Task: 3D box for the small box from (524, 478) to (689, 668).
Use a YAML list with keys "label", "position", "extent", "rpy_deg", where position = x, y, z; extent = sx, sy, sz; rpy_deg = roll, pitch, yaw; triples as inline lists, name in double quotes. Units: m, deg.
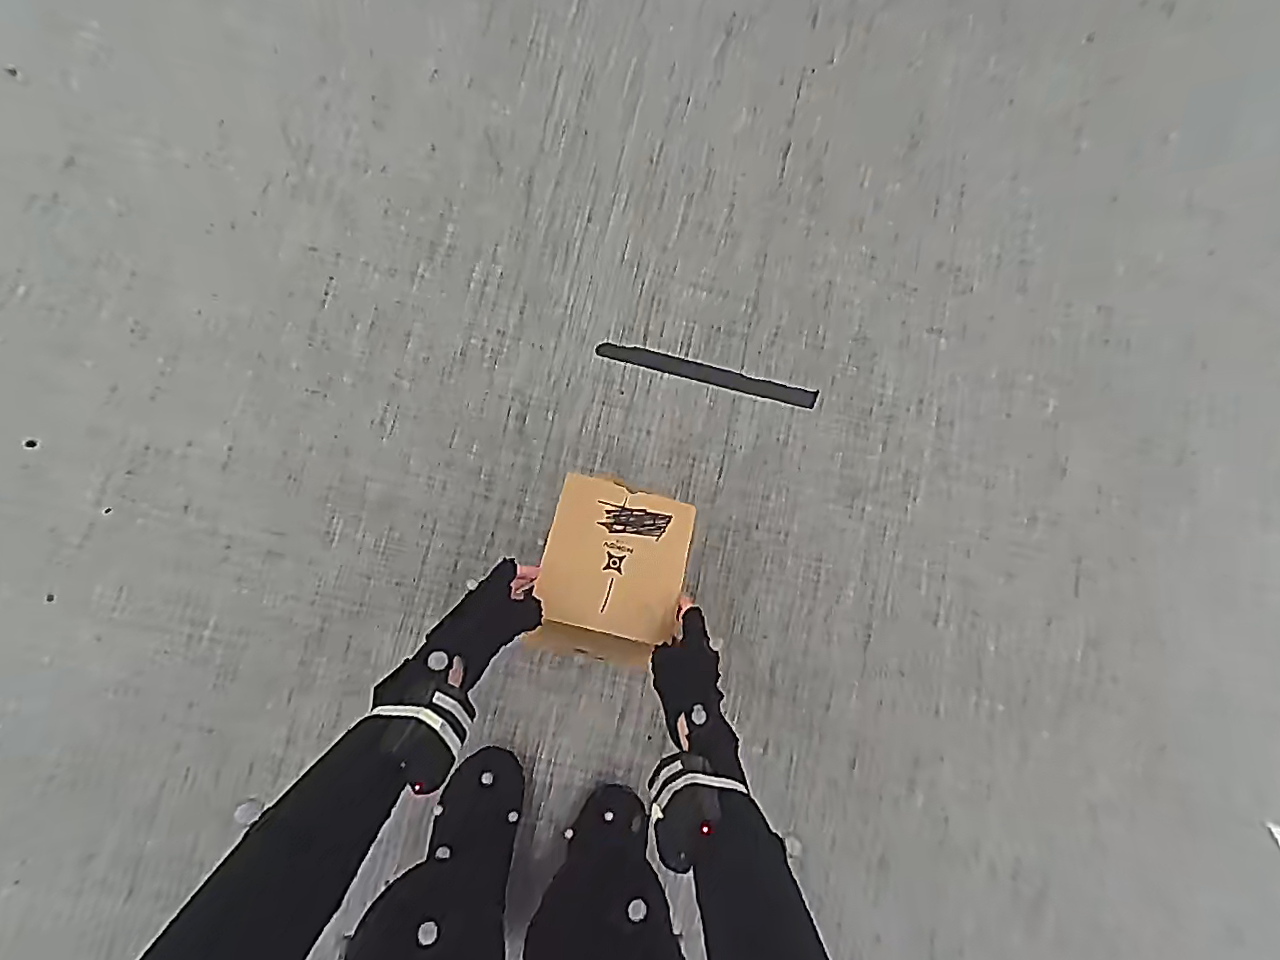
- label: "small box"
  position: [-0.049, 0.127, 0.698]
  extent: [0.168, 0.176, 0.179]
  rpy_deg: [16, 61, -5]
